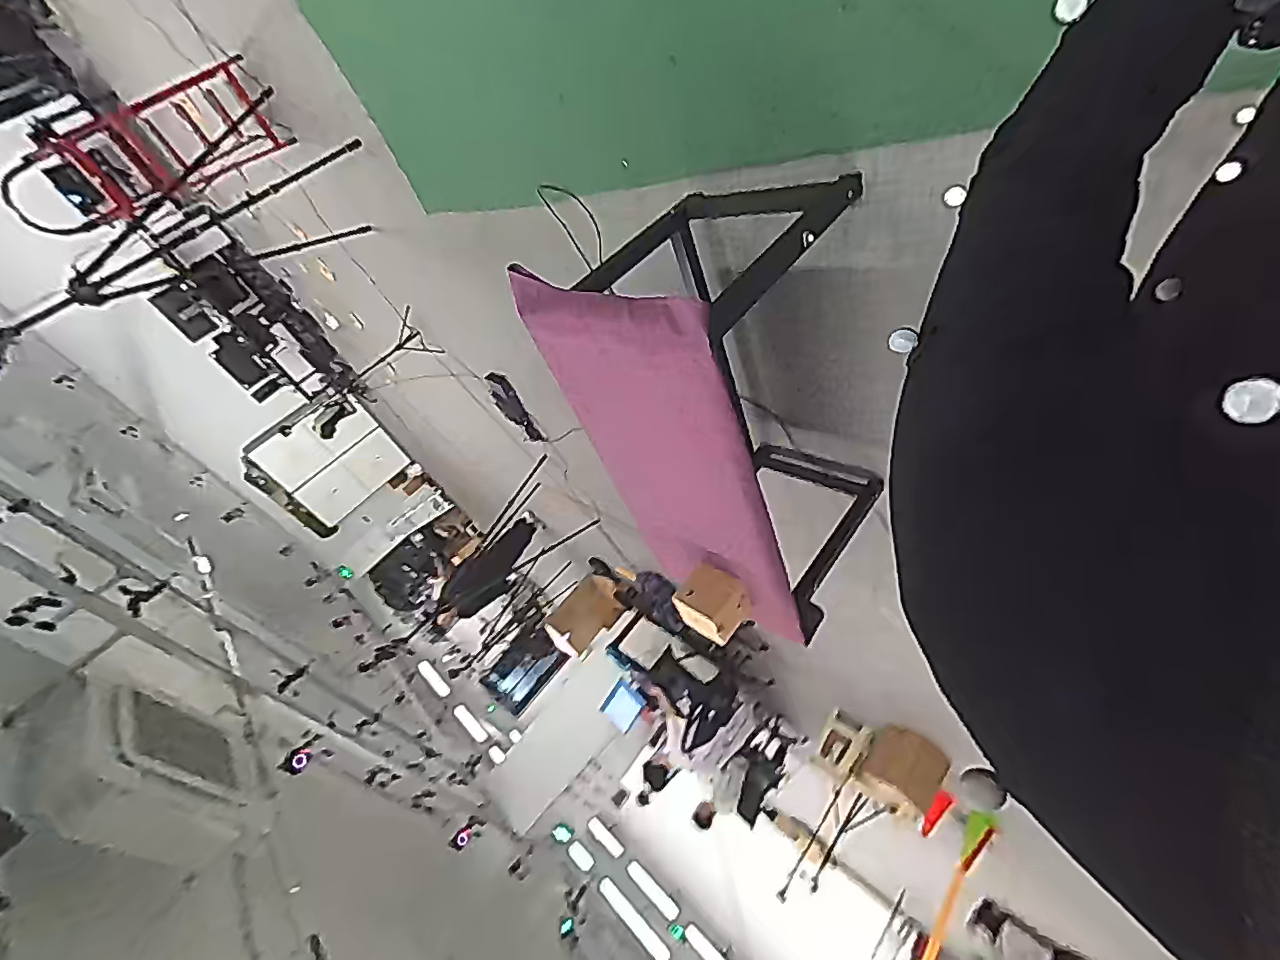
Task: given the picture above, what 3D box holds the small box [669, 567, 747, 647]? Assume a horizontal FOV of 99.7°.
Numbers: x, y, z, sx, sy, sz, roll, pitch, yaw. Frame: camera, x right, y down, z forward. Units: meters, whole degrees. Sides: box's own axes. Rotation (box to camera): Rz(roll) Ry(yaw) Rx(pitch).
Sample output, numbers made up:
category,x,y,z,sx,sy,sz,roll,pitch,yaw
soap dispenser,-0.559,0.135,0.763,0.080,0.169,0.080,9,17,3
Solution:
category,x,y,z,sx,sy,sz,roll,pitch,yaw
small box,0.231,0.418,1.813,0.179,0.176,0.168,22,149,42
